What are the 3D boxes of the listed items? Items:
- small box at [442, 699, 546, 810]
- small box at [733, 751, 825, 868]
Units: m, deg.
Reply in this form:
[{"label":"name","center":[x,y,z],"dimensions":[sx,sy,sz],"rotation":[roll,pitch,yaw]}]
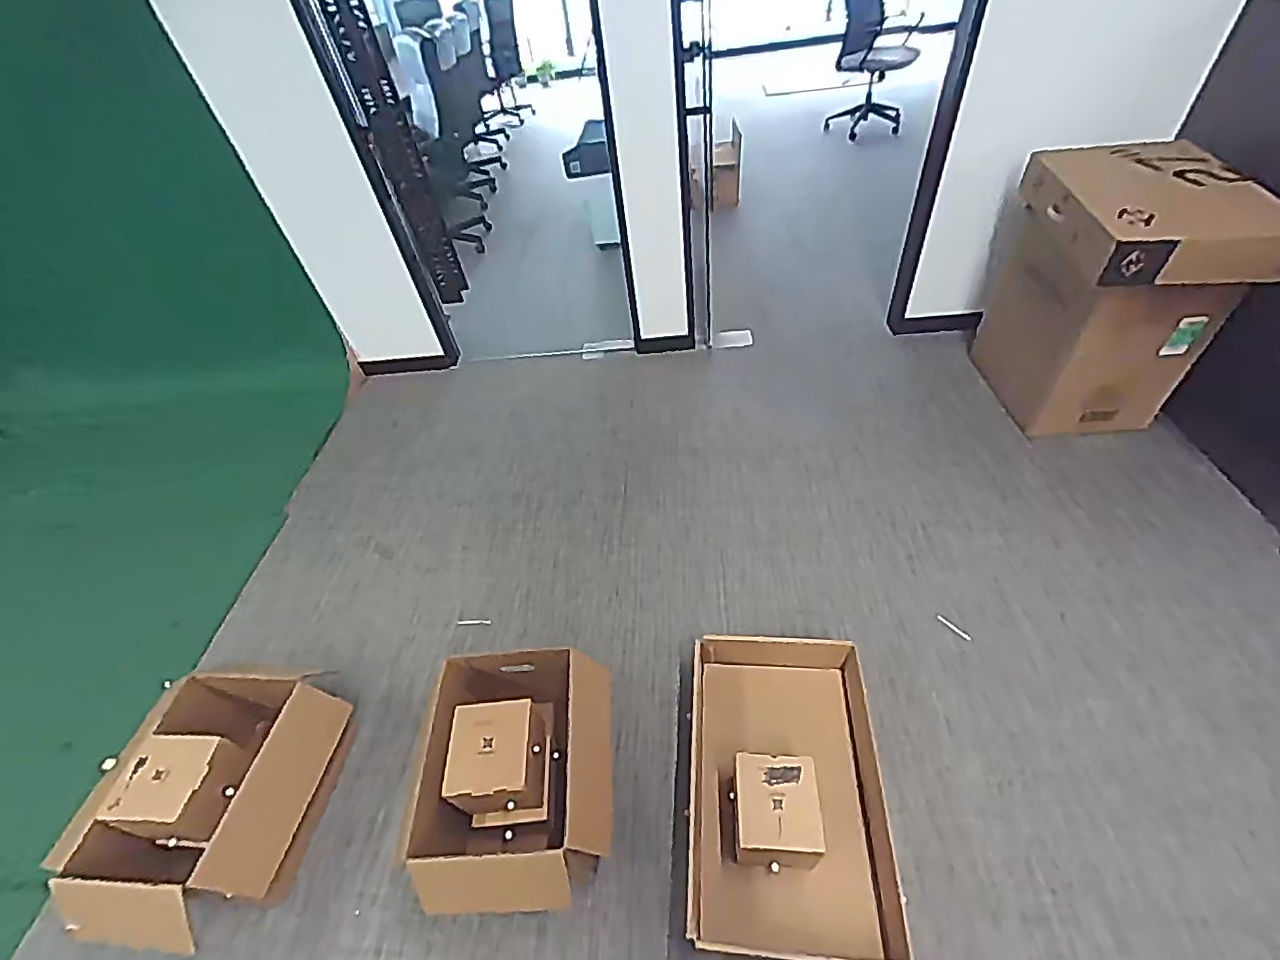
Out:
[{"label":"small box","center":[-0.301,0.593,1.157],"dimensions":[0.168,0.176,0.179],"rotation":[-6,48,2]},{"label":"small box","center":[0.286,0.702,1.153],"dimensions":[0.168,0.176,0.179],"rotation":[-1,46,7]}]
